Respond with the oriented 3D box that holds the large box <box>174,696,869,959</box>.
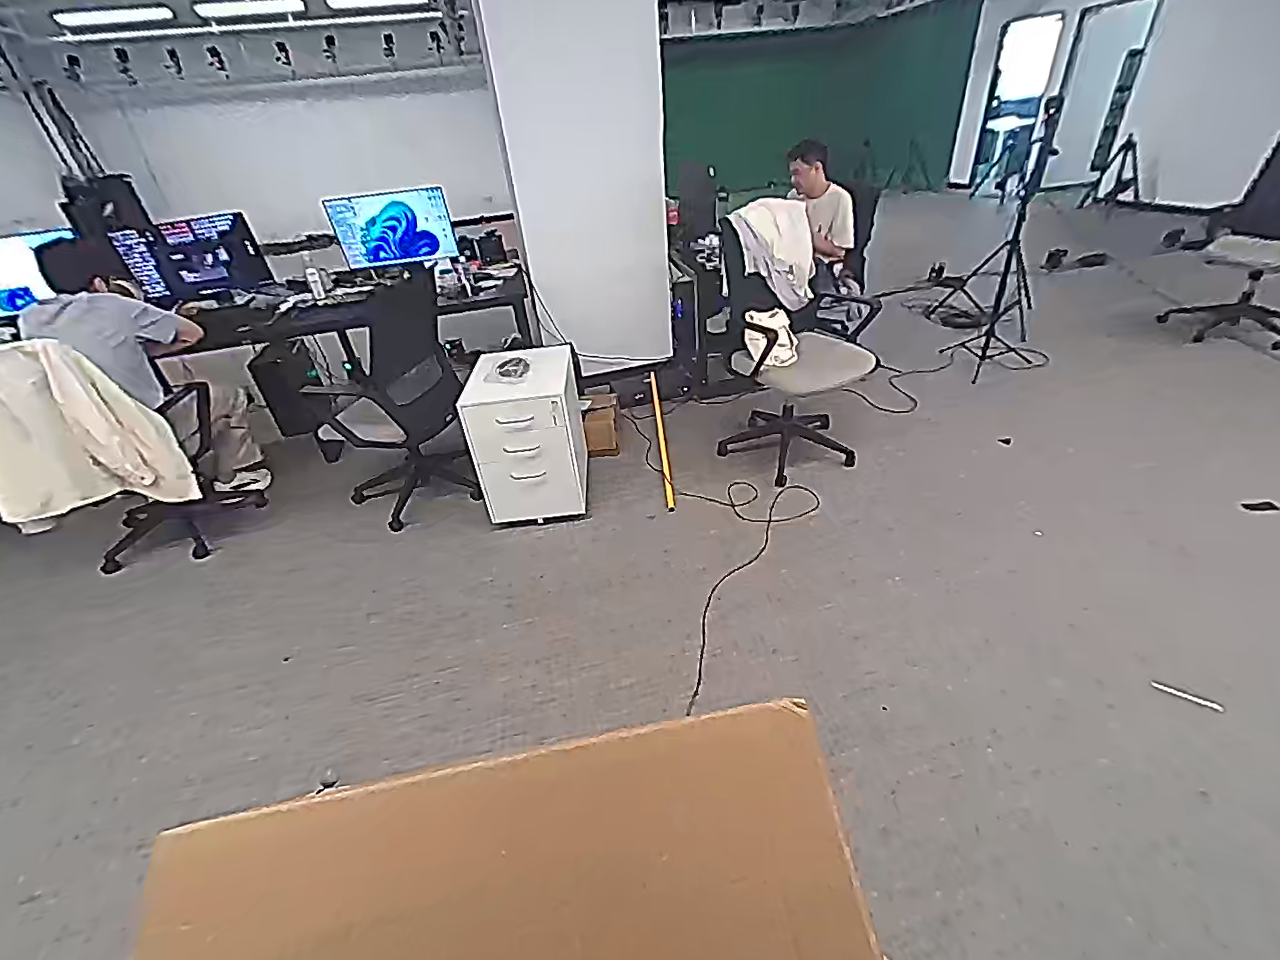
[{"bbox_3d":[-0.062,0.381,0.429,0.408,0.320,0.320,-9,67,-5],"label":"large box"}]
